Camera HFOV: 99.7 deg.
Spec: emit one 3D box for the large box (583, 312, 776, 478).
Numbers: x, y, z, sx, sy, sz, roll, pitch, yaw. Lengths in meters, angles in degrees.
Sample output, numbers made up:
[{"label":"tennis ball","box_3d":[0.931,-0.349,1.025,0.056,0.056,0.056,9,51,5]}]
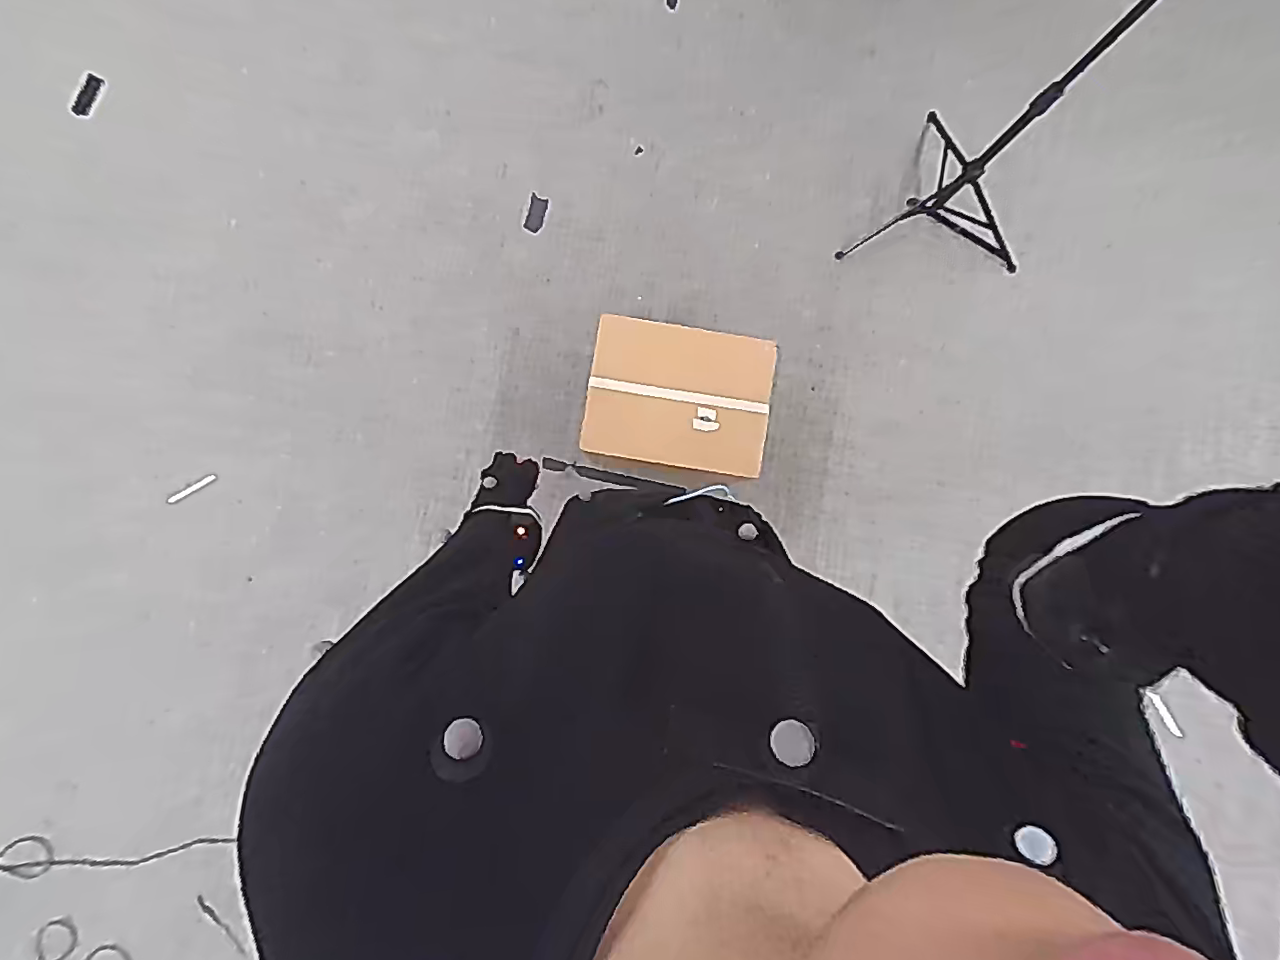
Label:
[{"label":"large box","box_3d":[0.083,-0.190,1.355,0.408,0.320,0.320,9,88,-2]}]
